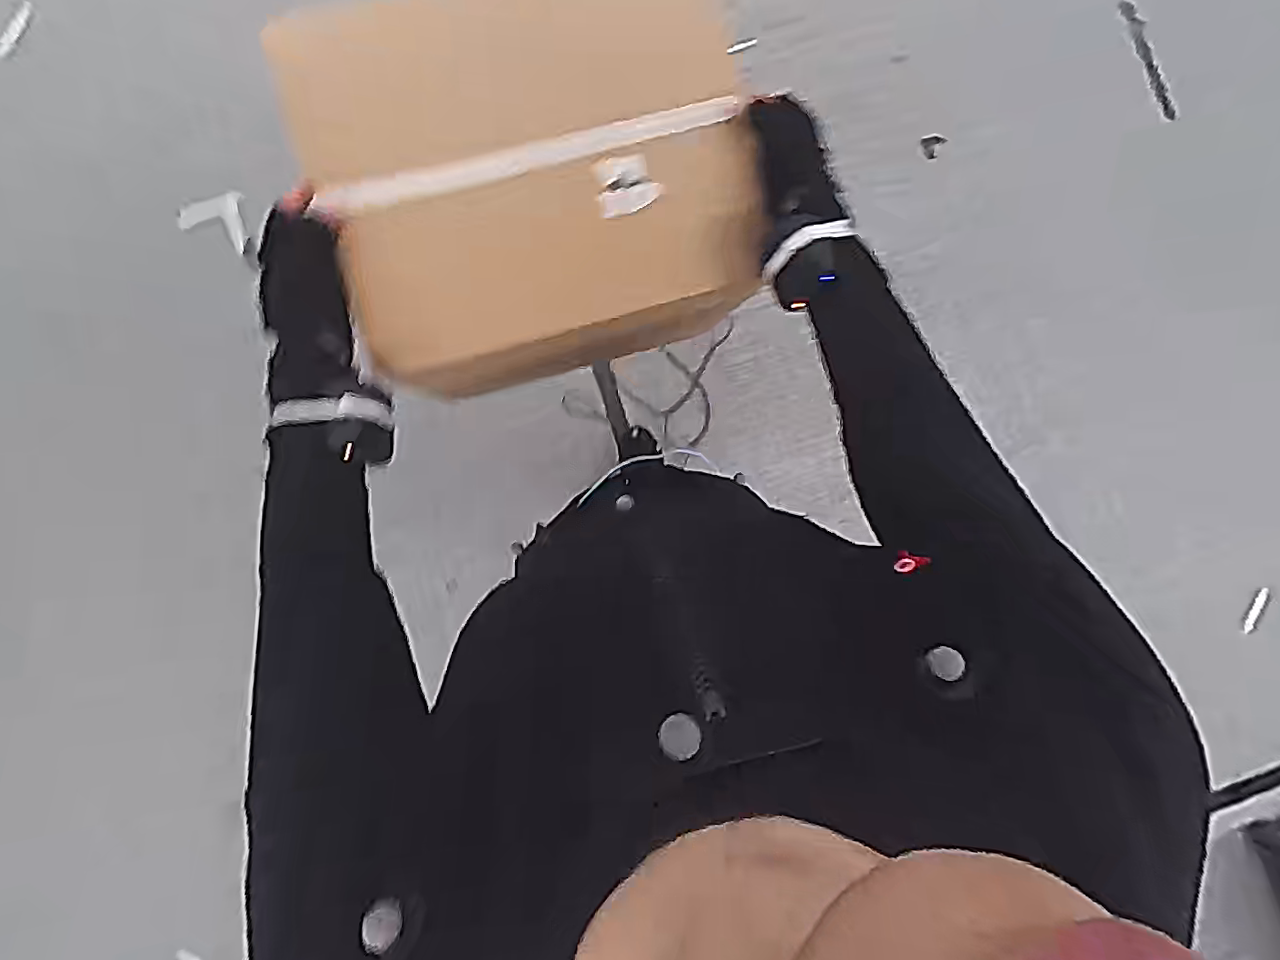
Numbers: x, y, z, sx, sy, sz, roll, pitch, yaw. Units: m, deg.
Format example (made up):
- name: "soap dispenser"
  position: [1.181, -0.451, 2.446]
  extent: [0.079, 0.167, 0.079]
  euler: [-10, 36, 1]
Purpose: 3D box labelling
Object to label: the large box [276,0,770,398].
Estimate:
- name: "large box"
  position: [-0.118, -0.315, 0.663]
  extent: [0.408, 0.320, 0.320]
  euler: [-18, 97, -7]
